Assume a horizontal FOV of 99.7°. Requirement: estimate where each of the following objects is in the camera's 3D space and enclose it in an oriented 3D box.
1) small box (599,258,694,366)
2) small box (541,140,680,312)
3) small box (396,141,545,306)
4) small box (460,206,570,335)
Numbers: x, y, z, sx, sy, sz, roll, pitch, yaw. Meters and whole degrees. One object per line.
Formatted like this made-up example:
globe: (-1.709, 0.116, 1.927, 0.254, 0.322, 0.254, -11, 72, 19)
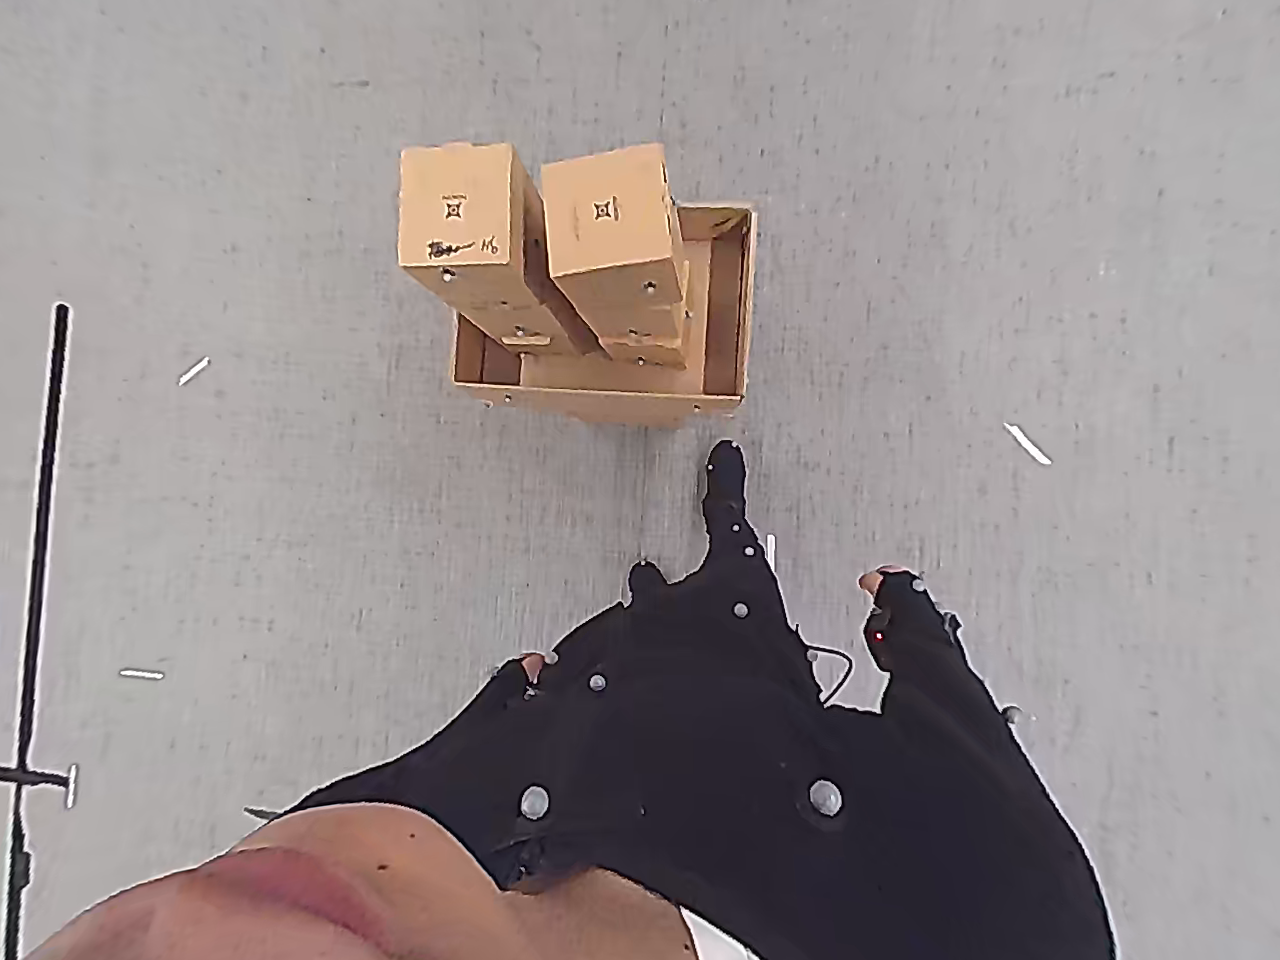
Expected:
small box: (0.021, -0.351, 1.139, 0.168, 0.176, 0.179, 6, 89, 10)
small box: (-0.035, -0.369, 0.817, 0.179, 0.176, 0.168, -5, 87, 10)
small box: (-0.251, -0.386, 0.838, 0.168, 0.176, 0.179, 1, 87, 7)
small box: (-0.227, -0.380, 1.002, 0.168, 0.176, 0.179, 1, 89, 6)
